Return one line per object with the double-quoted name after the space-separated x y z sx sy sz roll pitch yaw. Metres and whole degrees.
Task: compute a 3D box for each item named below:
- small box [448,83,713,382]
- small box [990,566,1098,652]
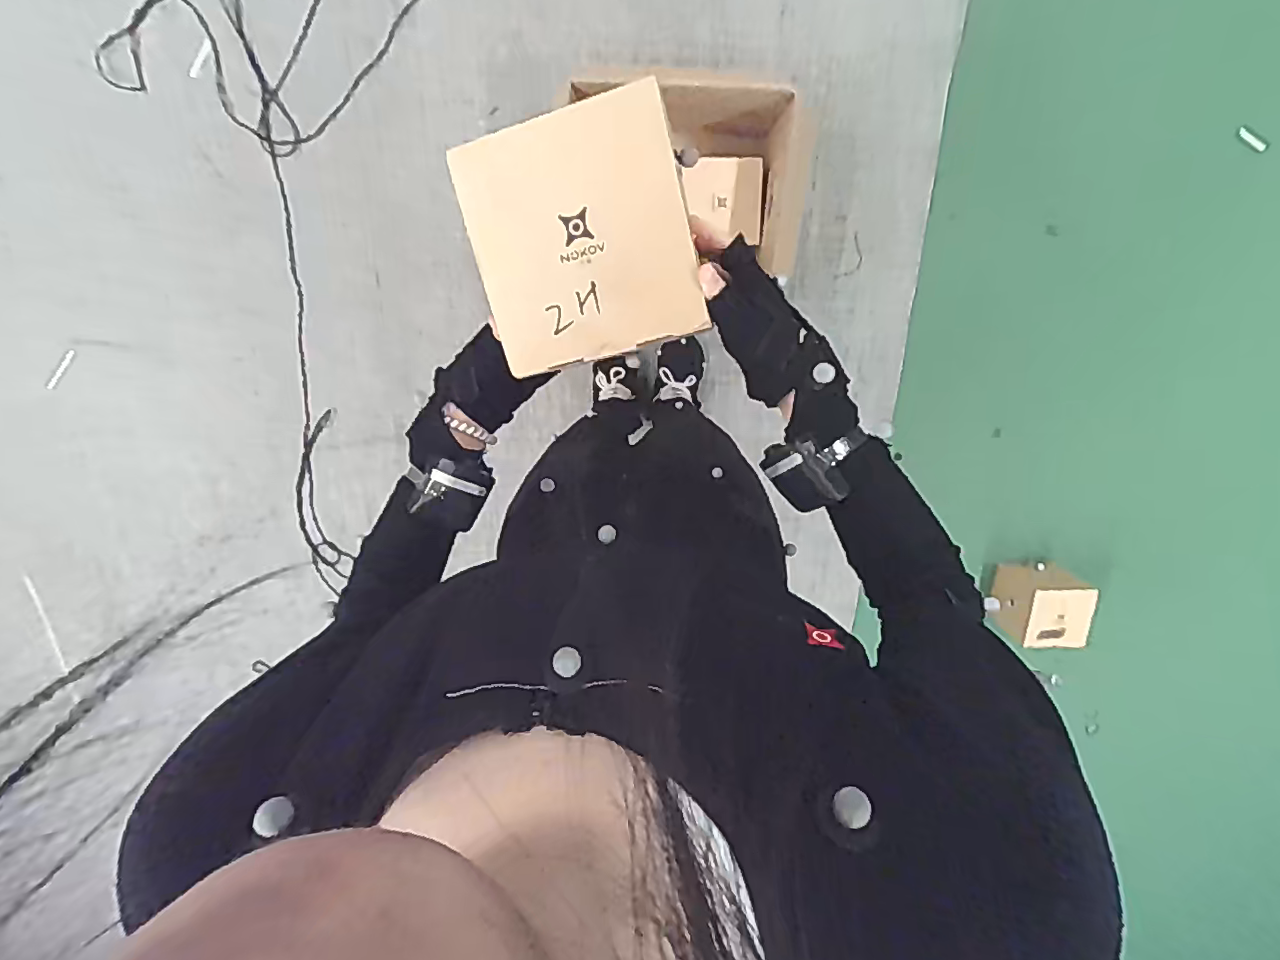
-0.033 -0.193 0.475 0.168 0.176 0.179 -12 103 12 "small box"
1.113 0.357 1.507 0.168 0.176 0.179 -1 107 1 "small box"
